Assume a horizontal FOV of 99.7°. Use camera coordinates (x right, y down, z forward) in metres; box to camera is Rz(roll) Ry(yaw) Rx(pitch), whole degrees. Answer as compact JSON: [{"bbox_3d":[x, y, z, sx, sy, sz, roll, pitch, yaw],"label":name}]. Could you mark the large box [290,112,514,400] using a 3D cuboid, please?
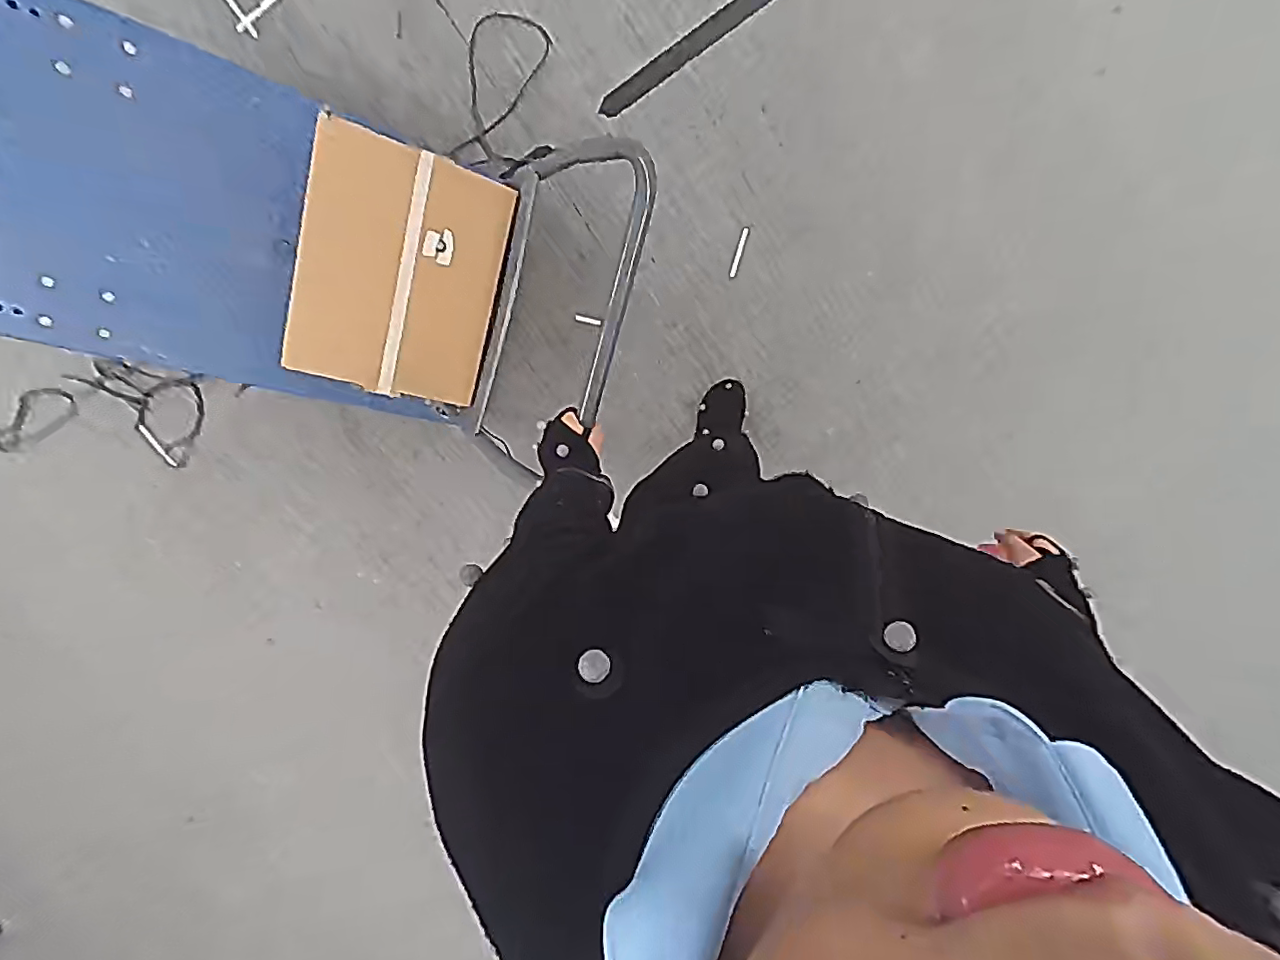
[{"bbox_3d":[-0.470,-0.401,1.069,0.320,0.320,0.408,9,102,-29],"label":"large box"}]
